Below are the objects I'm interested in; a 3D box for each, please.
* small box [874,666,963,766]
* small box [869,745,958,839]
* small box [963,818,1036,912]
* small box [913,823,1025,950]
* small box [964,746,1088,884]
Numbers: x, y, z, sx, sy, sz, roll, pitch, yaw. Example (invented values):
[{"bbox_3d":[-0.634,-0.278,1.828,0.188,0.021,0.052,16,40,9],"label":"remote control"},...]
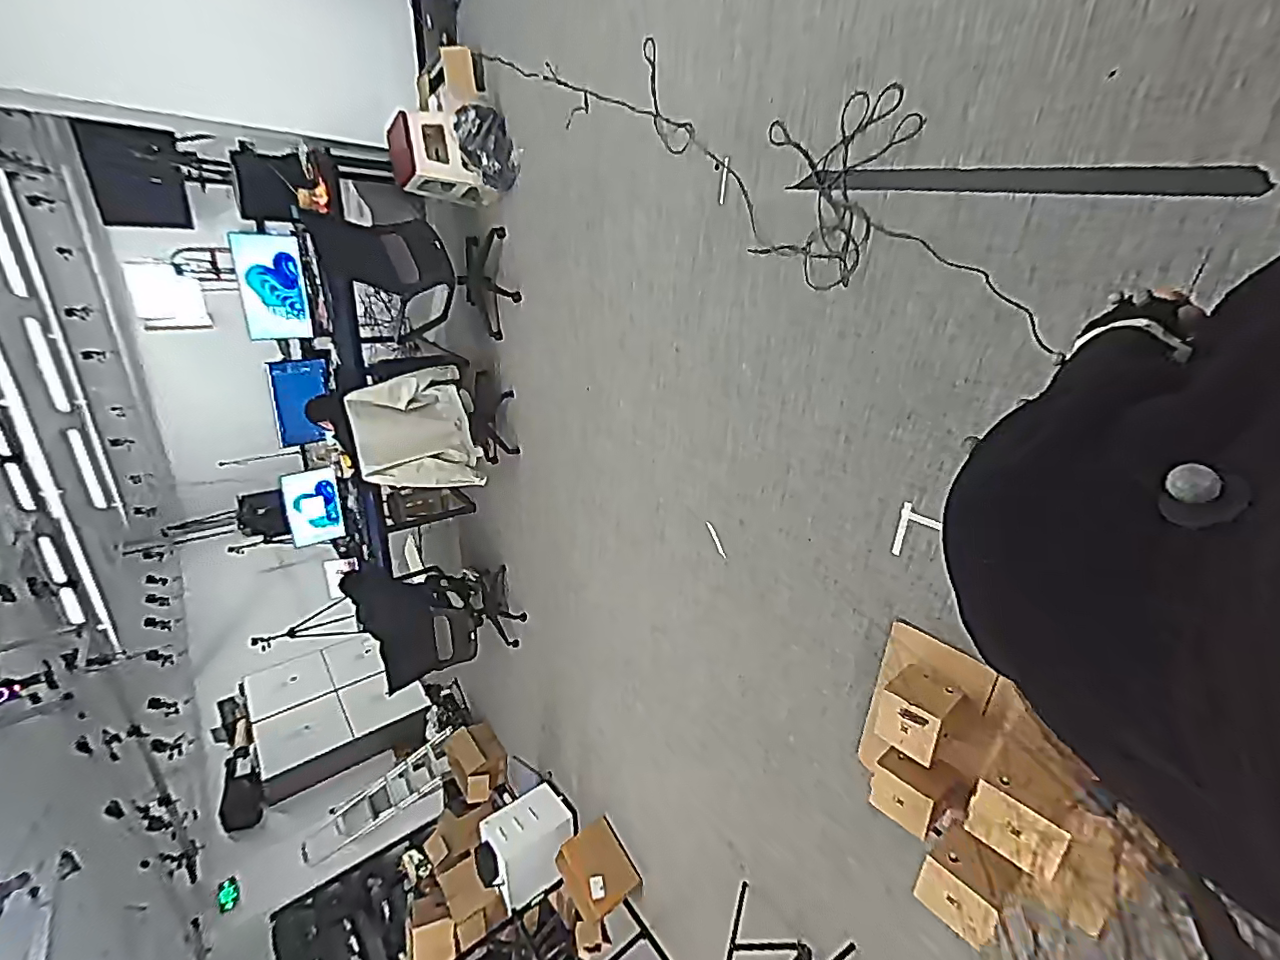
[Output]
[{"bbox_3d":[0.818,0.680,1.582,0.168,0.176,0.179,23,120,46],"label":"small box"},{"bbox_3d":[0.834,0.931,1.654,0.179,0.176,0.168,22,120,46],"label":"small box"},{"bbox_3d":[0.988,1.004,1.477,0.179,0.176,0.168,22,119,46],"label":"small box"},{"bbox_3d":[0.846,1.031,1.395,0.179,0.176,0.168,27,124,44],"label":"small box"},{"bbox_3d":[0.889,0.756,1.244,0.179,0.176,0.168,24,121,45],"label":"small box"}]
